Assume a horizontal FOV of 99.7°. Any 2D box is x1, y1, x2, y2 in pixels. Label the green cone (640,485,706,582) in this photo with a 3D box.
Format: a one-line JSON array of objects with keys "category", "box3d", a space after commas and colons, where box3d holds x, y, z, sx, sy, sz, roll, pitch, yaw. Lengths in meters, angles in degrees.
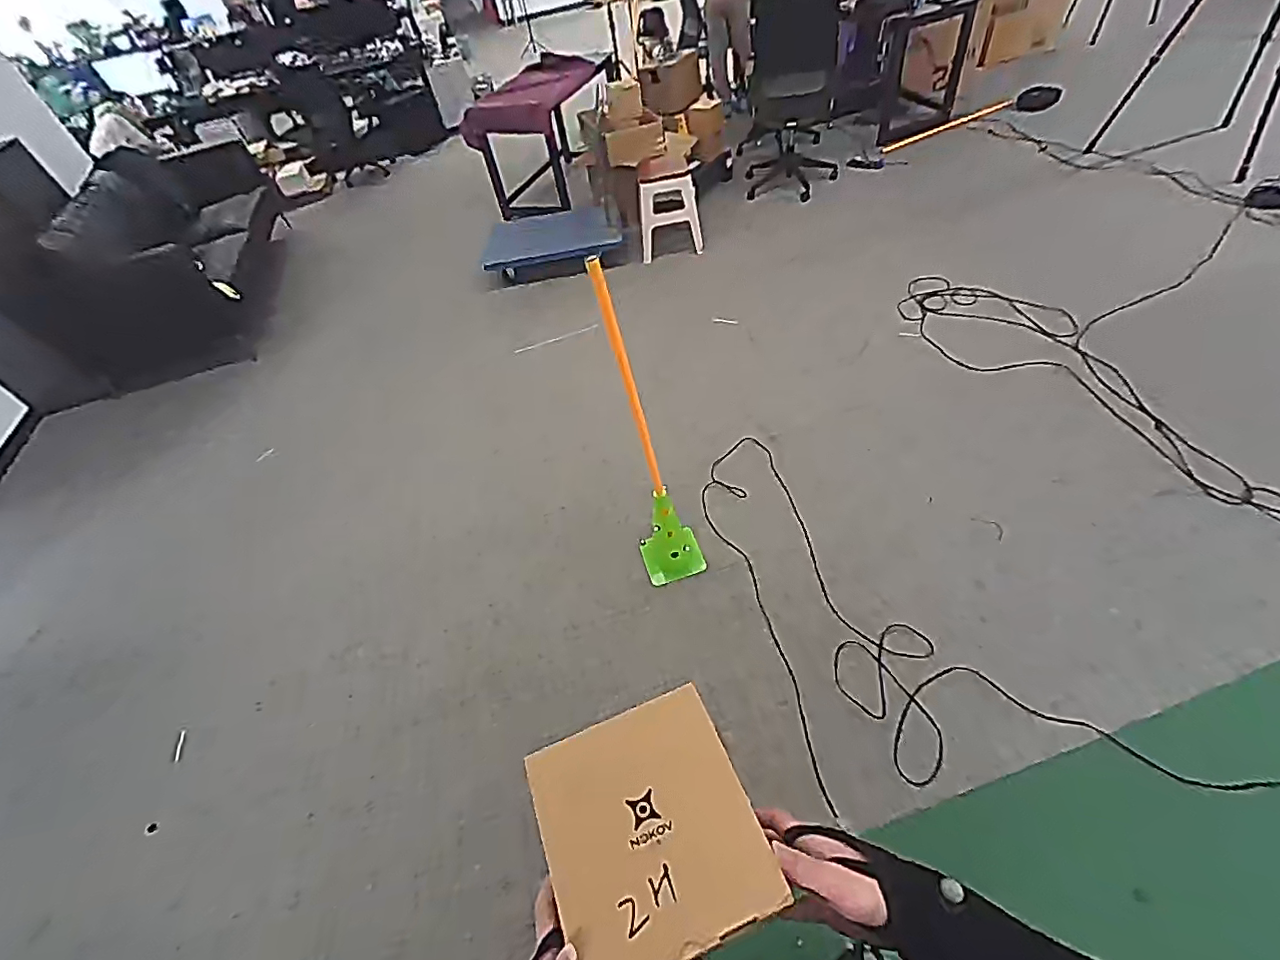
[{"category": "green cone", "box3d": [0.094, 0.151, 1.801, 0.202, 0.368, 0.200, -16, 49, -5]}]
